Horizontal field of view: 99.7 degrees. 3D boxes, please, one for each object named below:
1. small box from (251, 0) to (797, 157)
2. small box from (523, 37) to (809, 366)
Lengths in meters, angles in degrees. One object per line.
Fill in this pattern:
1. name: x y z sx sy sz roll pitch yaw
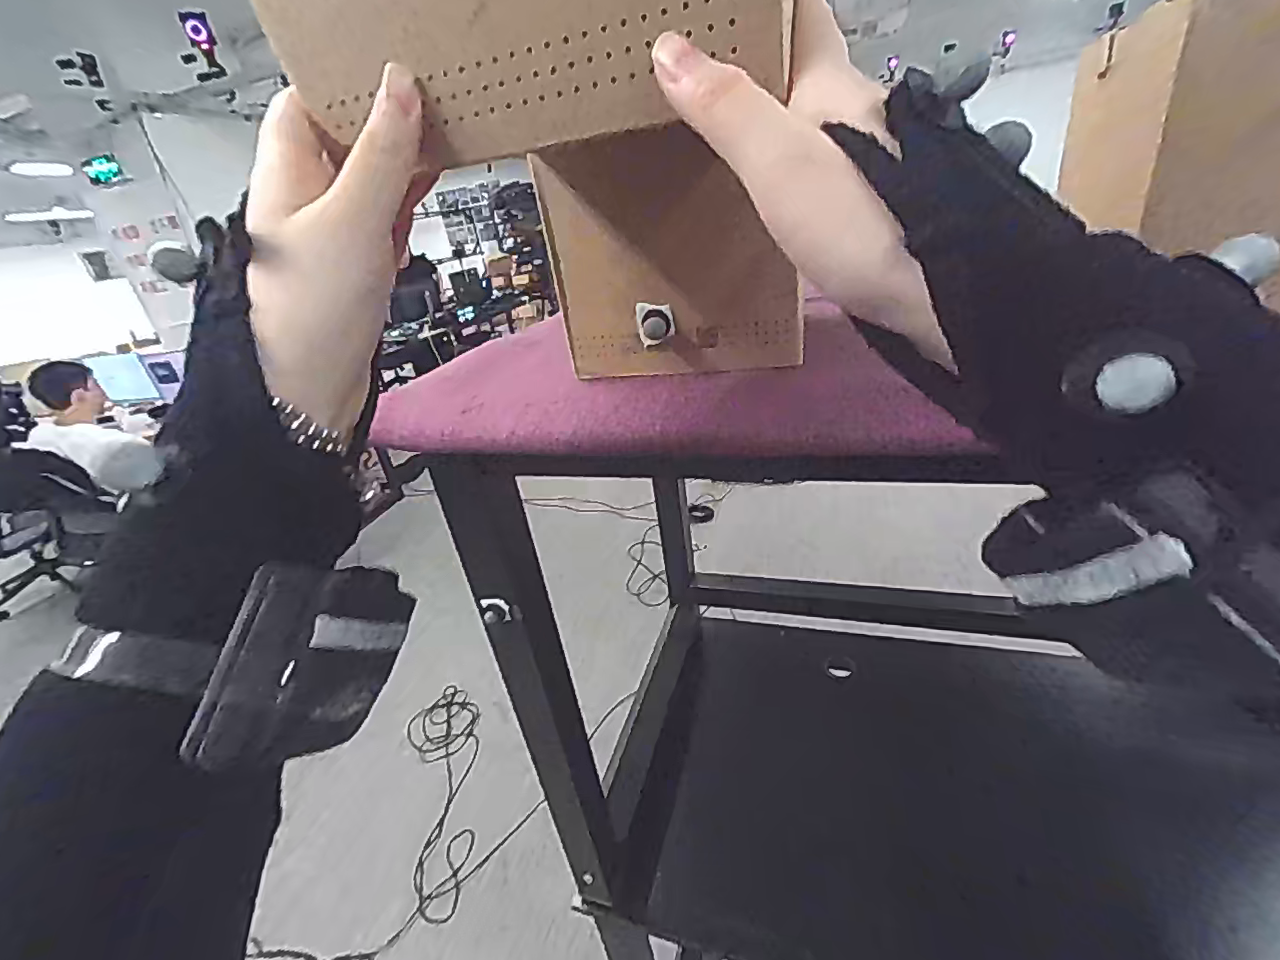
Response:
1. small box: -0.041 -0.233 0.190 0.179 0.176 0.168 0 41 18
2. small box: 0.037 -0.194 0.408 0.168 0.176 0.179 -2 29 18
